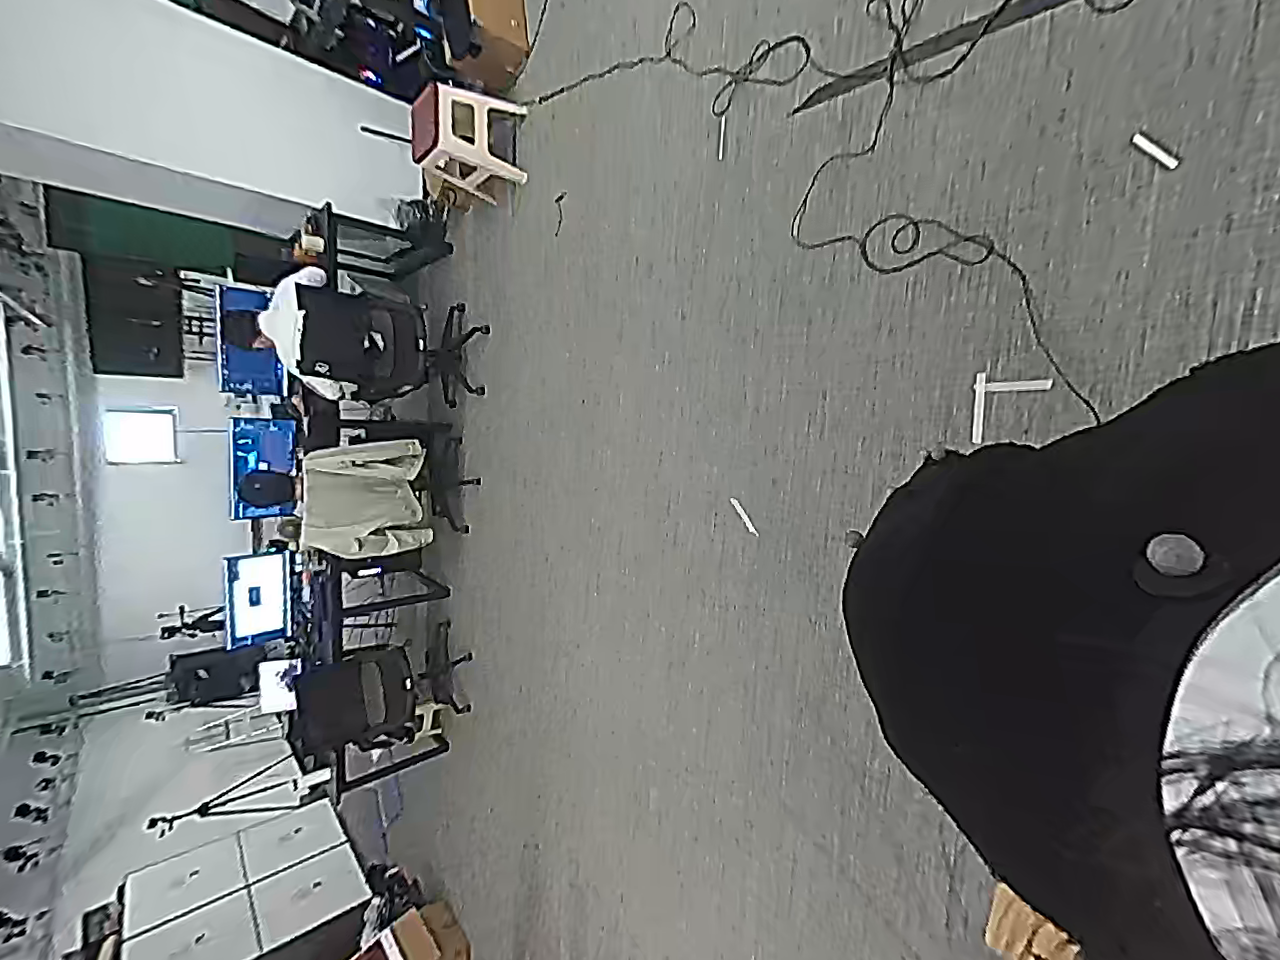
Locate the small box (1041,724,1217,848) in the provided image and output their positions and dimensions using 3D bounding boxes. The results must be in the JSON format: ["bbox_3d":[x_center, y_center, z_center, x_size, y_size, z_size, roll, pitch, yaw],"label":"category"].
[{"bbox_3d":[0.664,0.474,0.746,0.168,0.176,0.179,10,97,47],"label":"small box"}]

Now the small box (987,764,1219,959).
[{"bbox_3d":[0.542,0.476,0.637,0.168,0.176,0.179,15,101,47],"label":"small box"}]

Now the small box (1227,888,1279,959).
[{"bbox_3d":[0.793,0.629,0.611,0.168,0.176,0.179,10,98,45],"label":"small box"}]
